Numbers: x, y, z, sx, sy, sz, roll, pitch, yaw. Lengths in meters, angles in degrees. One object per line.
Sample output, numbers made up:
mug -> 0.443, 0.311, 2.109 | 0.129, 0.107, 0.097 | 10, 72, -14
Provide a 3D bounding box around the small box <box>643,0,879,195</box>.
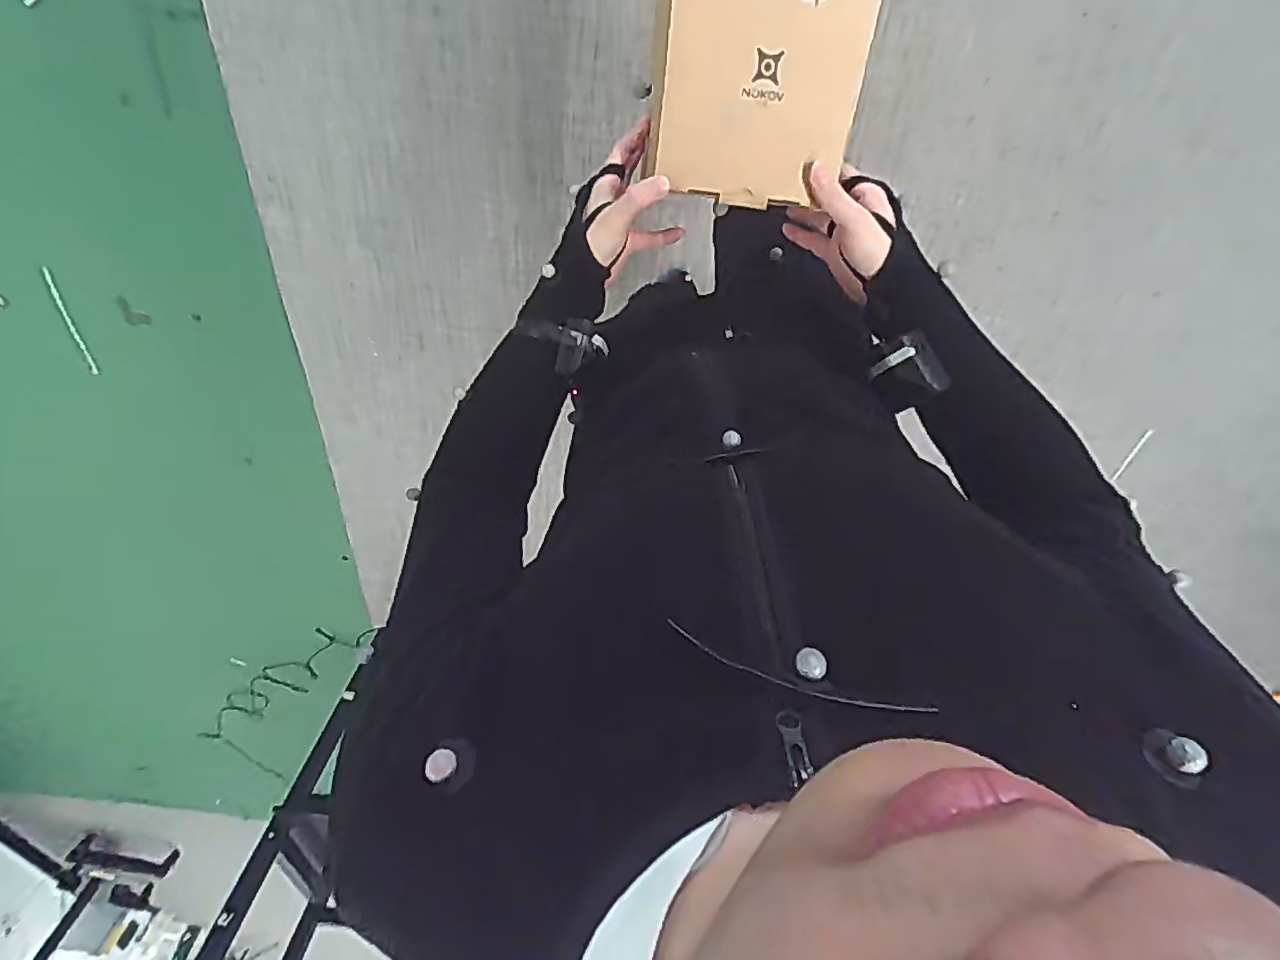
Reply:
small box -> 0.096, -0.378, 0.511 | 0.168, 0.176, 0.179 | 2, 119, -7
